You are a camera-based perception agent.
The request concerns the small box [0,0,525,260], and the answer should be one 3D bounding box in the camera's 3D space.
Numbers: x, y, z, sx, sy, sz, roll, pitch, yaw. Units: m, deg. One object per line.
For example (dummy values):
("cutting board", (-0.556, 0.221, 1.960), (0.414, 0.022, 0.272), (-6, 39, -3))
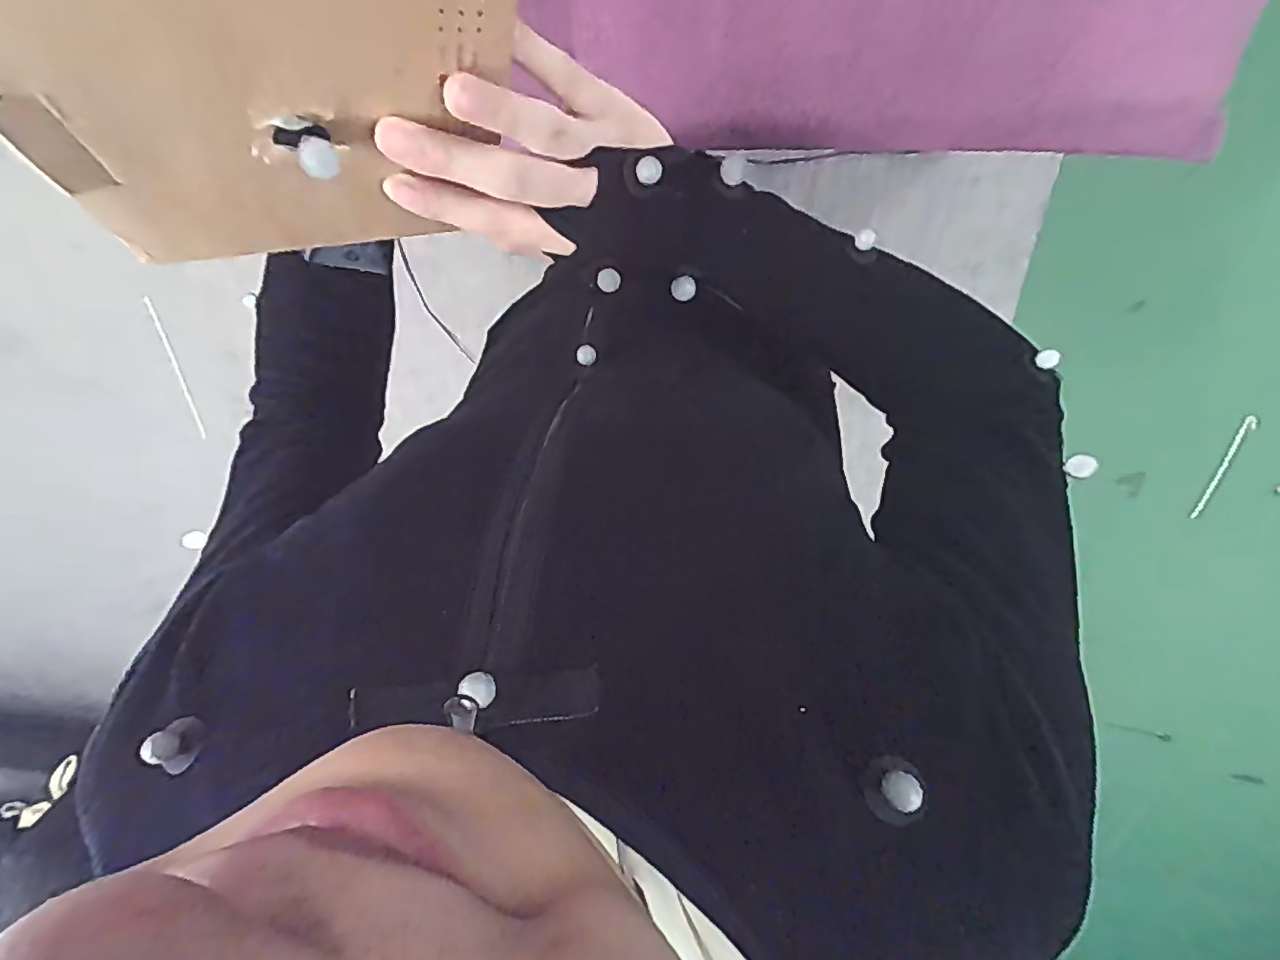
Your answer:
("small box", (-0.154, -0.217, 0.211), (0.176, 0.168, 0.179), (-18, 90, -21))
